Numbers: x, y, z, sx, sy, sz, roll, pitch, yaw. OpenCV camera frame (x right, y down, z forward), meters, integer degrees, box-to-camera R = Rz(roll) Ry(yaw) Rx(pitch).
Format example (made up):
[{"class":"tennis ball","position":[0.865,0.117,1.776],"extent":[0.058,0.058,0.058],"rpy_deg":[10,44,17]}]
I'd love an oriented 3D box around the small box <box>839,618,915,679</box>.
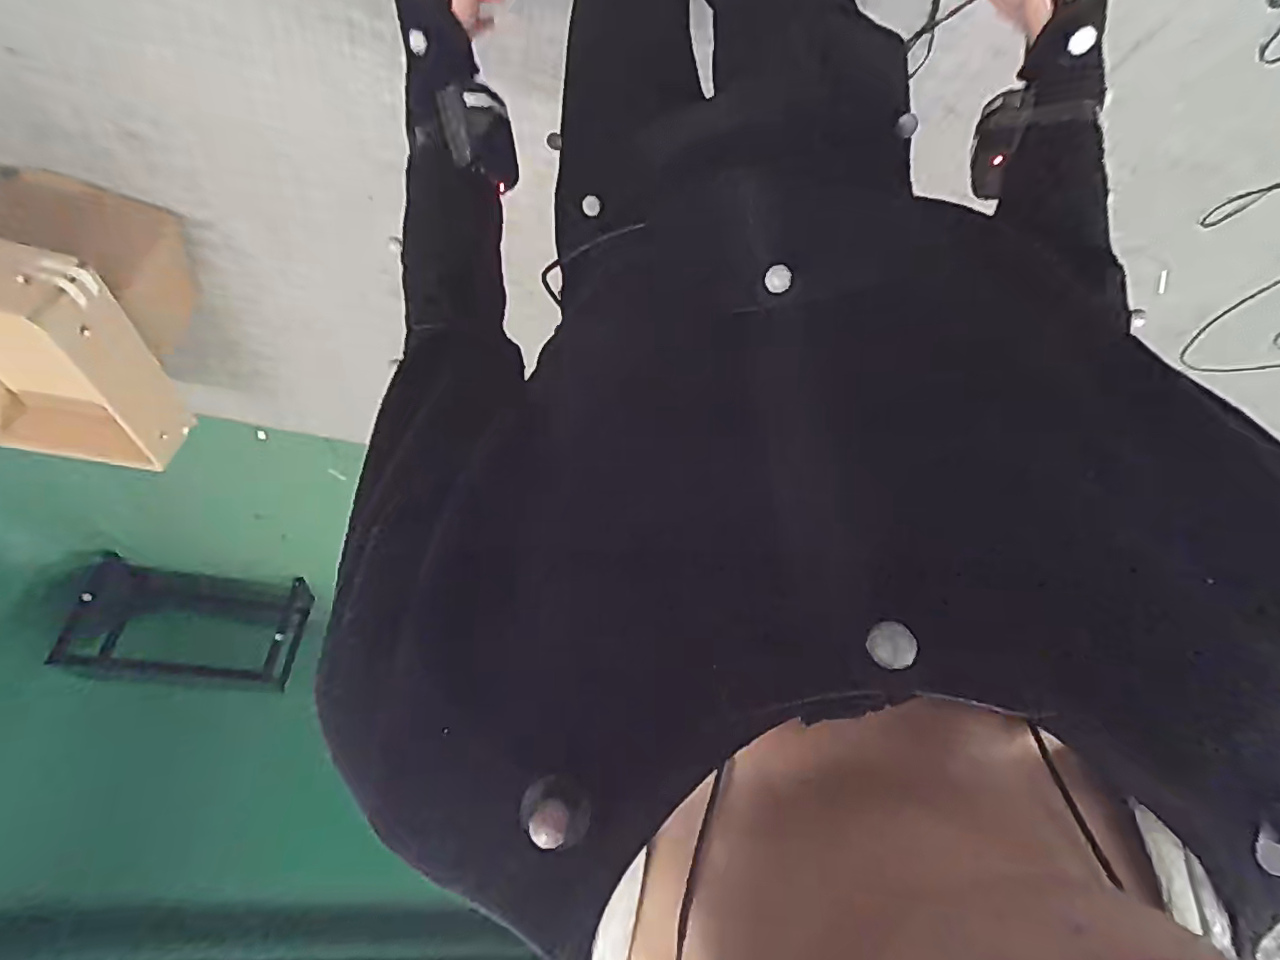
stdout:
[{"class":"small box","position":[0.830,0.597,1.915],"extent":[0.168,0.176,0.179],"rpy_deg":[14,148,-17]}]
